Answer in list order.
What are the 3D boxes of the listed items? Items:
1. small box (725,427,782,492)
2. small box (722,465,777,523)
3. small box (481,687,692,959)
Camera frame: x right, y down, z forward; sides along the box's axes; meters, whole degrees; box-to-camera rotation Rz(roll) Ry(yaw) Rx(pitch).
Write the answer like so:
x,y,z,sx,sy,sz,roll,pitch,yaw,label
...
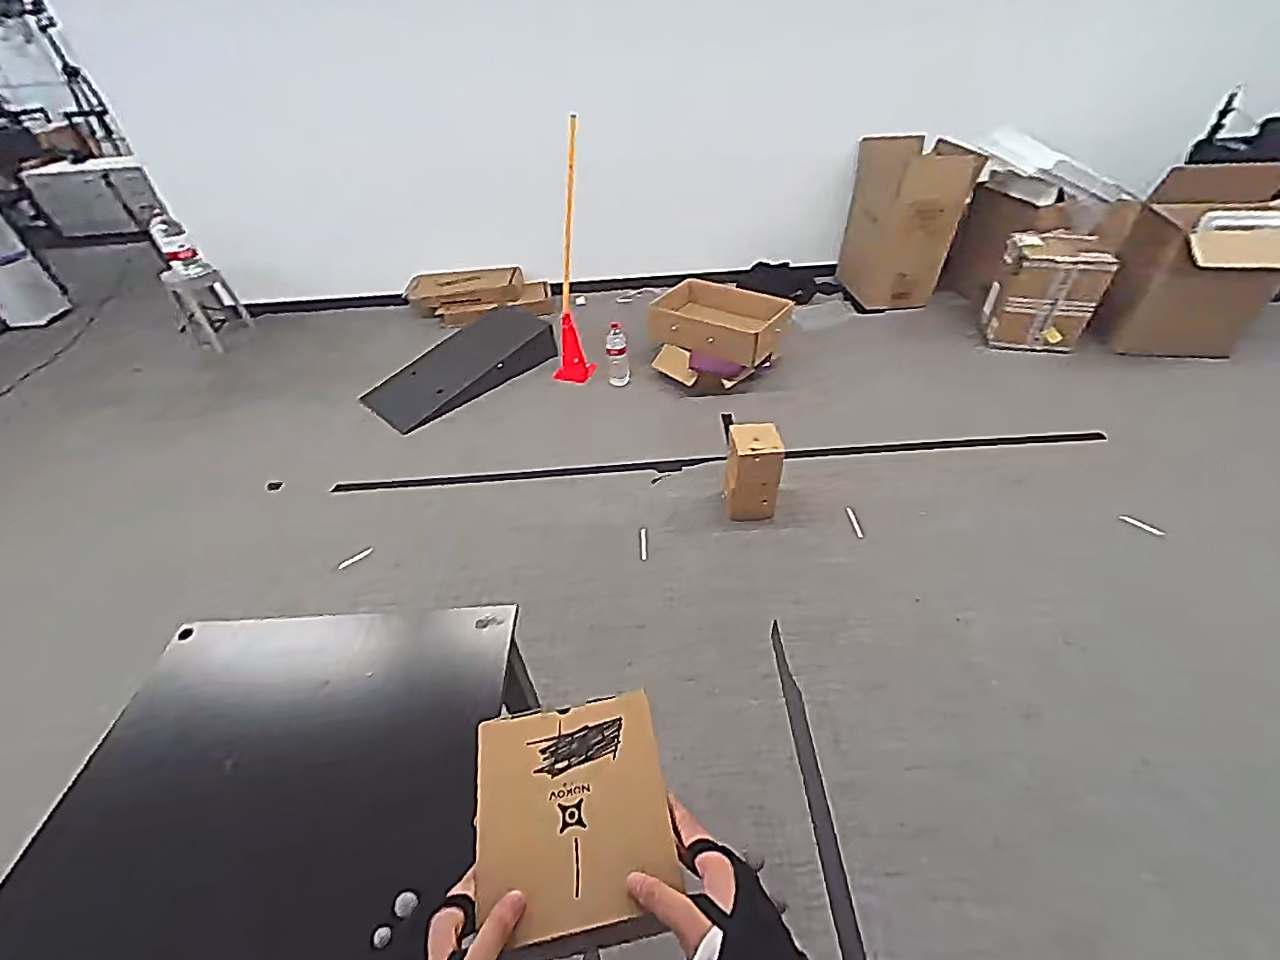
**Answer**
x,y,z,sx,sy,sz,roll,pitch,yaw,label
0.411,-0.075,1.982,0.168,0.176,0.179,-5,40,-1,small box
0.419,0.048,2.091,0.179,0.176,0.168,-5,40,1,small box
-0.051,0.334,0.528,0.168,0.176,0.179,-10,46,-6,small box
